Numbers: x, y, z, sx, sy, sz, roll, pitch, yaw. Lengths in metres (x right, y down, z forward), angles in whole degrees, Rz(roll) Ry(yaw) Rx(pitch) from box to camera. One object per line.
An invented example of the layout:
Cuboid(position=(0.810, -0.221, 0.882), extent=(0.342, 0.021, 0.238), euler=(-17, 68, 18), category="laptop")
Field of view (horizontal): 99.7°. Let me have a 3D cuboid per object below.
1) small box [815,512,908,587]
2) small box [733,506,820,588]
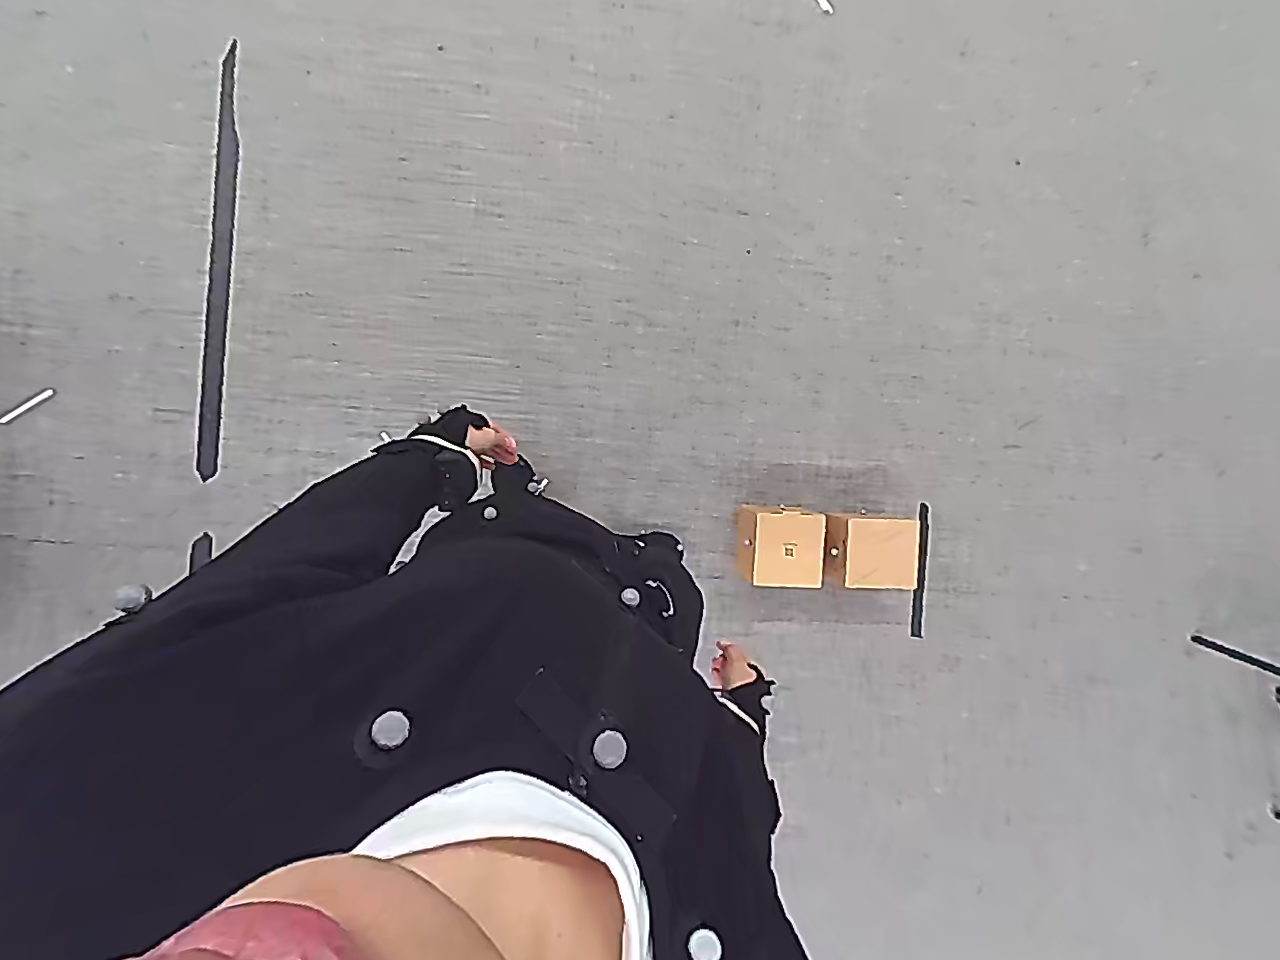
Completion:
Cuboid(position=(0.557, 0.172, 1.369), extent=(0.179, 0.176, 0.168), euler=(2, 91, -5), category="small box")
Cuboid(position=(0.334, 0.162, 1.356), extent=(0.168, 0.176, 0.179), euler=(3, 91, -4), category="small box")
